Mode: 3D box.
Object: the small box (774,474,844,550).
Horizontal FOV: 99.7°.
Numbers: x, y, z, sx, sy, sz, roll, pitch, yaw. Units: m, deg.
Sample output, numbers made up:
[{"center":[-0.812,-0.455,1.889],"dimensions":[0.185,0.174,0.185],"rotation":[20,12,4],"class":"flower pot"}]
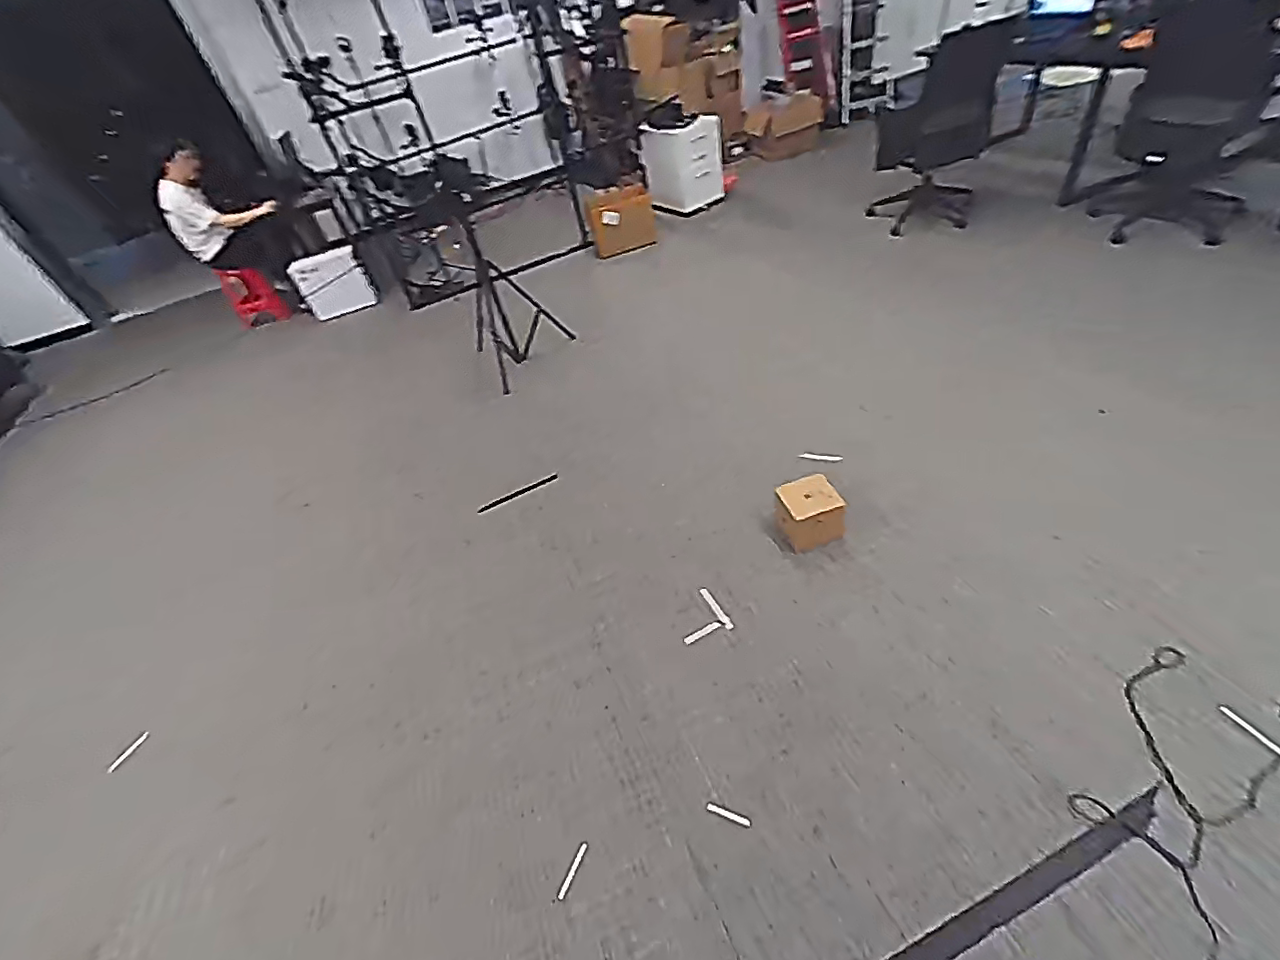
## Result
[{"center":[0.573,0.113,1.841],"dimensions":[0.179,0.176,0.168],"rotation":[-18,43,-4],"class":"small box"}]
